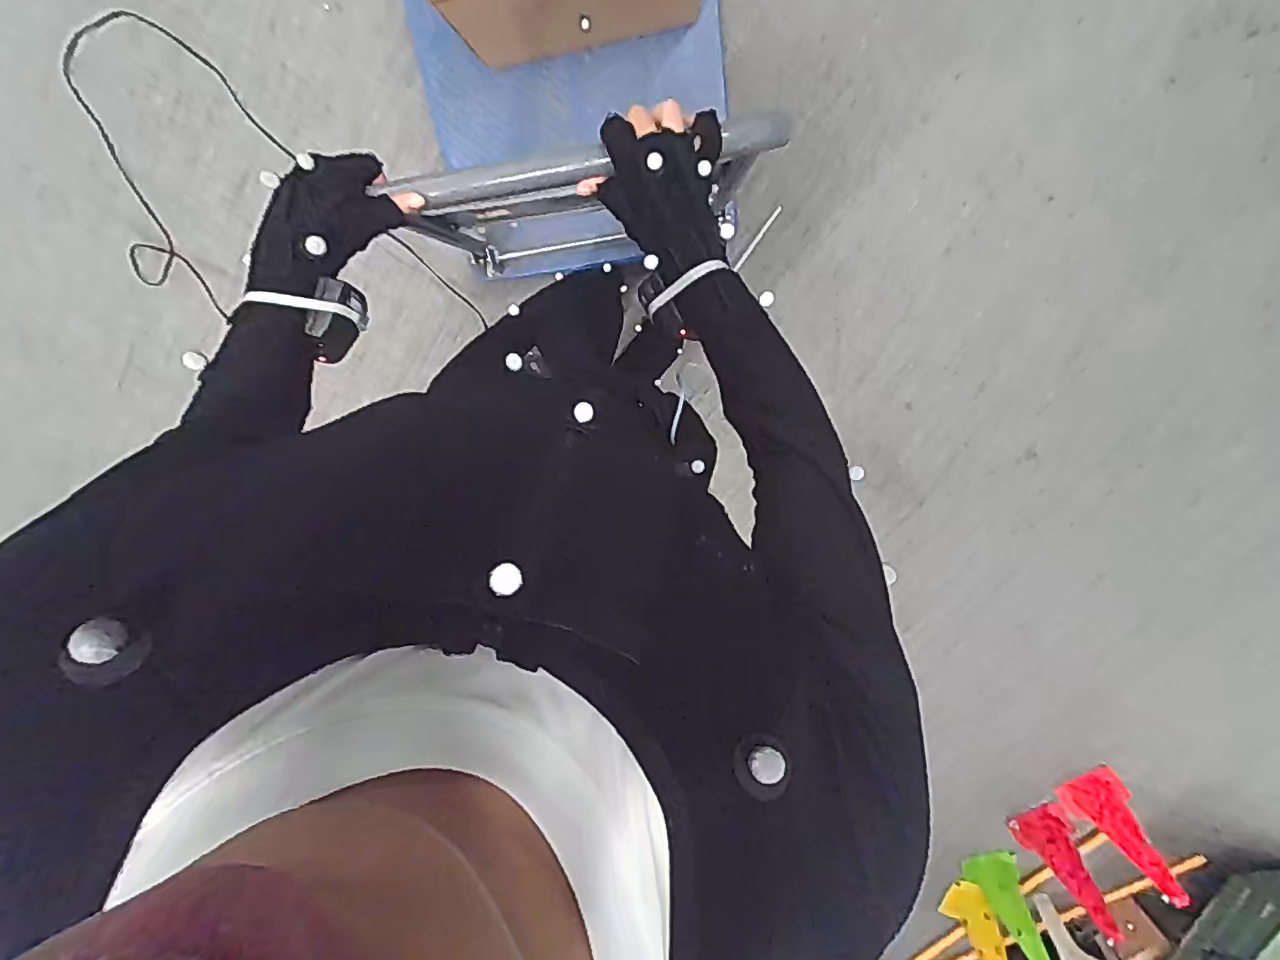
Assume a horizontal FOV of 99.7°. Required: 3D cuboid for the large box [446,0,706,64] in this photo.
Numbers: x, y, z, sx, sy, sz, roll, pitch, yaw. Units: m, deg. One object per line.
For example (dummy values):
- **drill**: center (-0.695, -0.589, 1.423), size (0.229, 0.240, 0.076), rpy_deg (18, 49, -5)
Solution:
- **large box**: center (-0.109, -0.912, 0.829), size (0.408, 0.320, 0.320), rpy_deg (-9, 110, 6)
